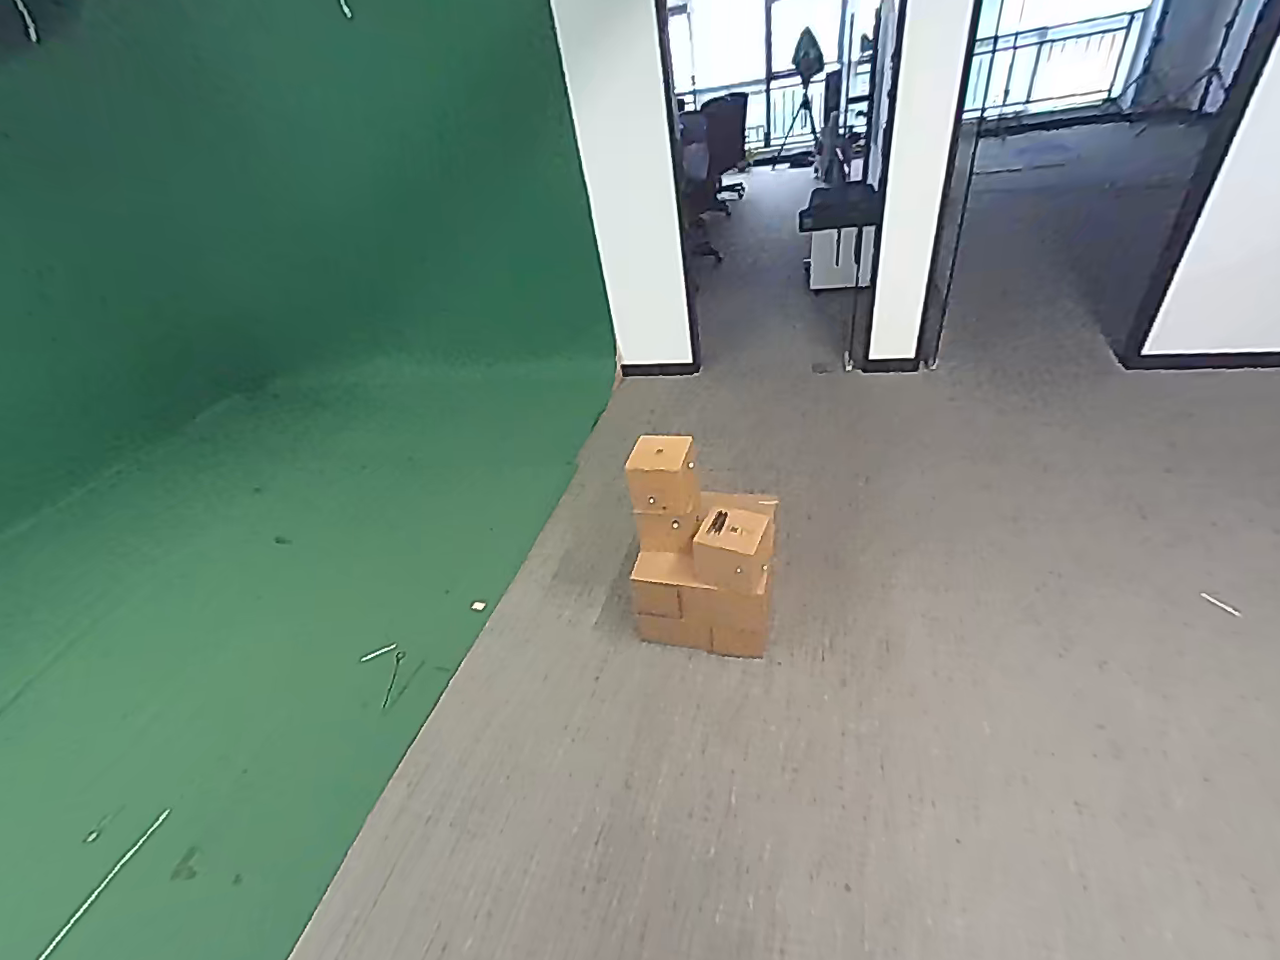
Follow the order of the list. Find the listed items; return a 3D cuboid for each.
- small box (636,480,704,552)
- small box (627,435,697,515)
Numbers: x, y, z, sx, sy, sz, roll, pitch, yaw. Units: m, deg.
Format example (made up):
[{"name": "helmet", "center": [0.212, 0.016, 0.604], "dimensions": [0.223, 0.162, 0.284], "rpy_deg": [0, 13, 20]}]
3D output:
[{"name": "small box", "center": [0.103, 0.112, 1.721], "dimensions": [0.179, 0.176, 0.168], "rpy_deg": [2, 37, 18]}, {"name": "small box", "center": [0.075, -0.017, 1.626], "dimensions": [0.168, 0.176, 0.179], "rpy_deg": [3, 38, 19]}]
